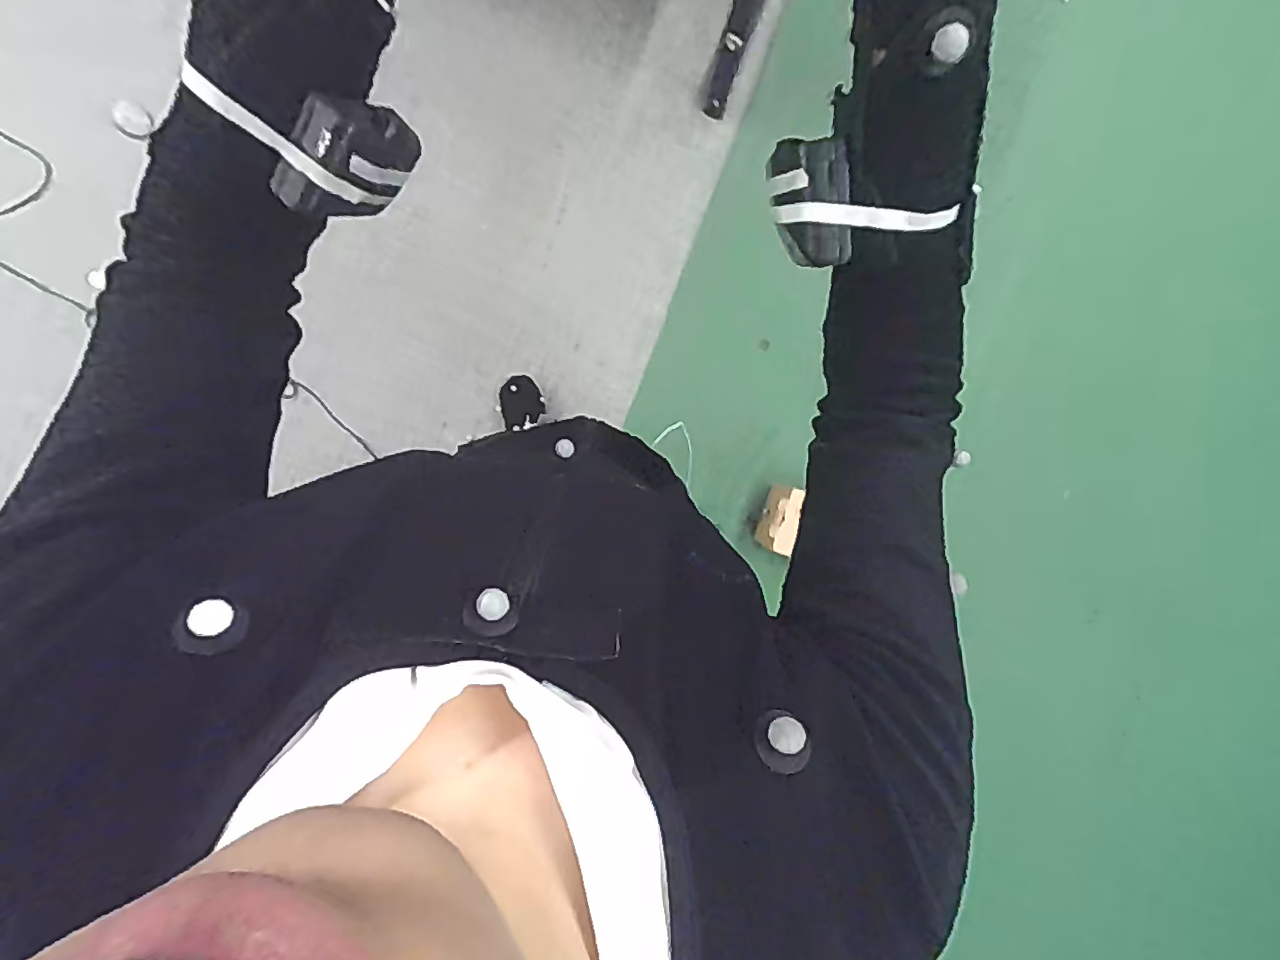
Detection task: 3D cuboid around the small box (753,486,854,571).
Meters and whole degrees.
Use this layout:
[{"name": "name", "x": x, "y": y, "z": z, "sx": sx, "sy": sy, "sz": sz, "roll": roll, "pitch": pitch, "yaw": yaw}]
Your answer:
[{"name": "small box", "x": 0.423, "y": 0.120, "z": 1.427, "sx": 0.179, "sy": 0.176, "sz": 0.168, "roll": 20, "pitch": 92, "yaw": -4}]
